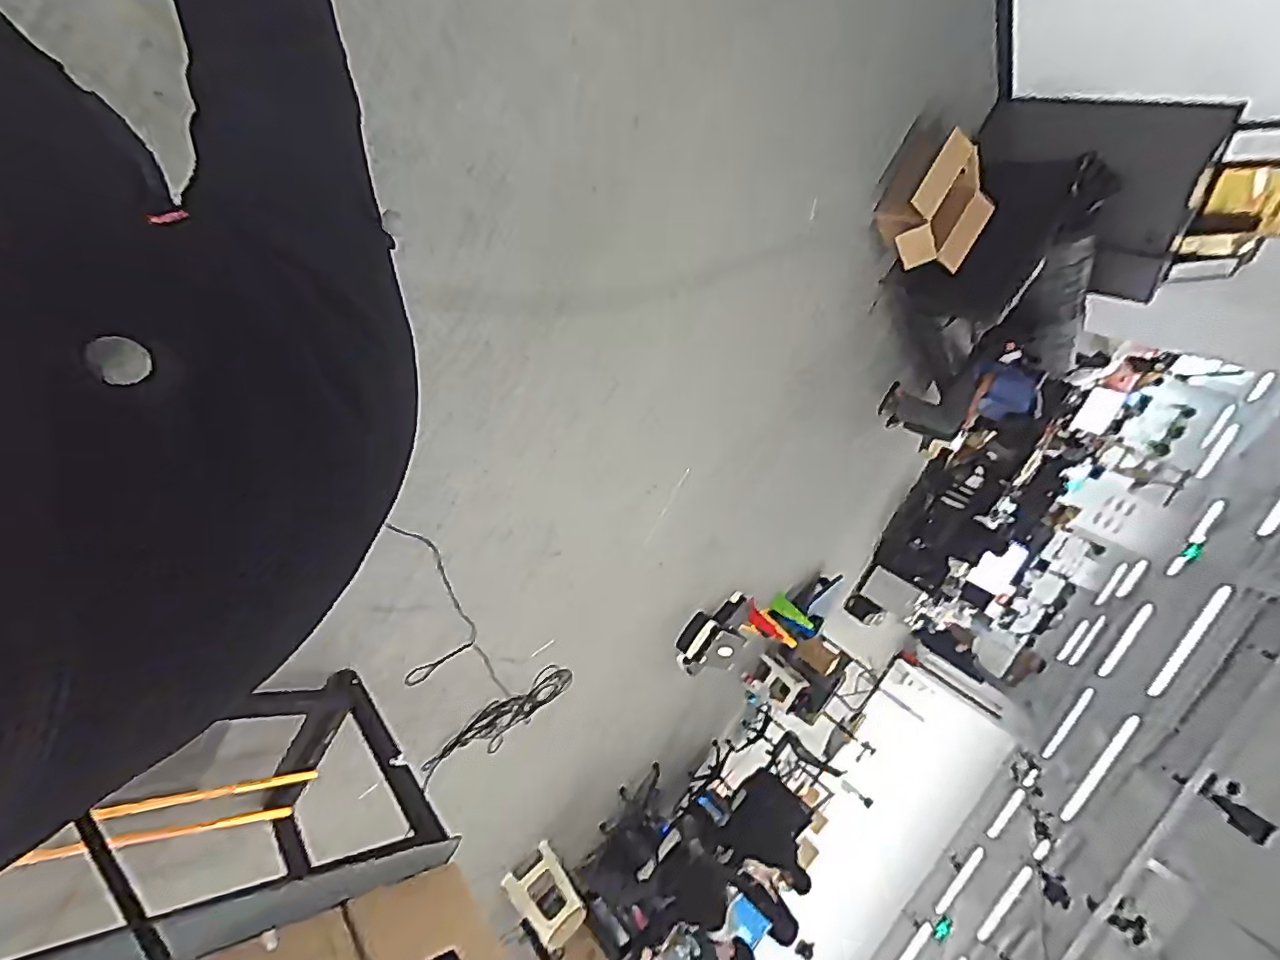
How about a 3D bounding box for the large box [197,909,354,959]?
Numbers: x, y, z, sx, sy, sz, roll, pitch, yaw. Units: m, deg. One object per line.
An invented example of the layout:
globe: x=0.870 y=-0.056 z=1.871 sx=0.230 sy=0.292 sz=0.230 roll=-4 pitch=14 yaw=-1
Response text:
large box: x=-0.760 y=1.154 z=1.017 sx=0.320 sy=0.320 sz=0.408 roll=24 pitch=96 yaw=-54
